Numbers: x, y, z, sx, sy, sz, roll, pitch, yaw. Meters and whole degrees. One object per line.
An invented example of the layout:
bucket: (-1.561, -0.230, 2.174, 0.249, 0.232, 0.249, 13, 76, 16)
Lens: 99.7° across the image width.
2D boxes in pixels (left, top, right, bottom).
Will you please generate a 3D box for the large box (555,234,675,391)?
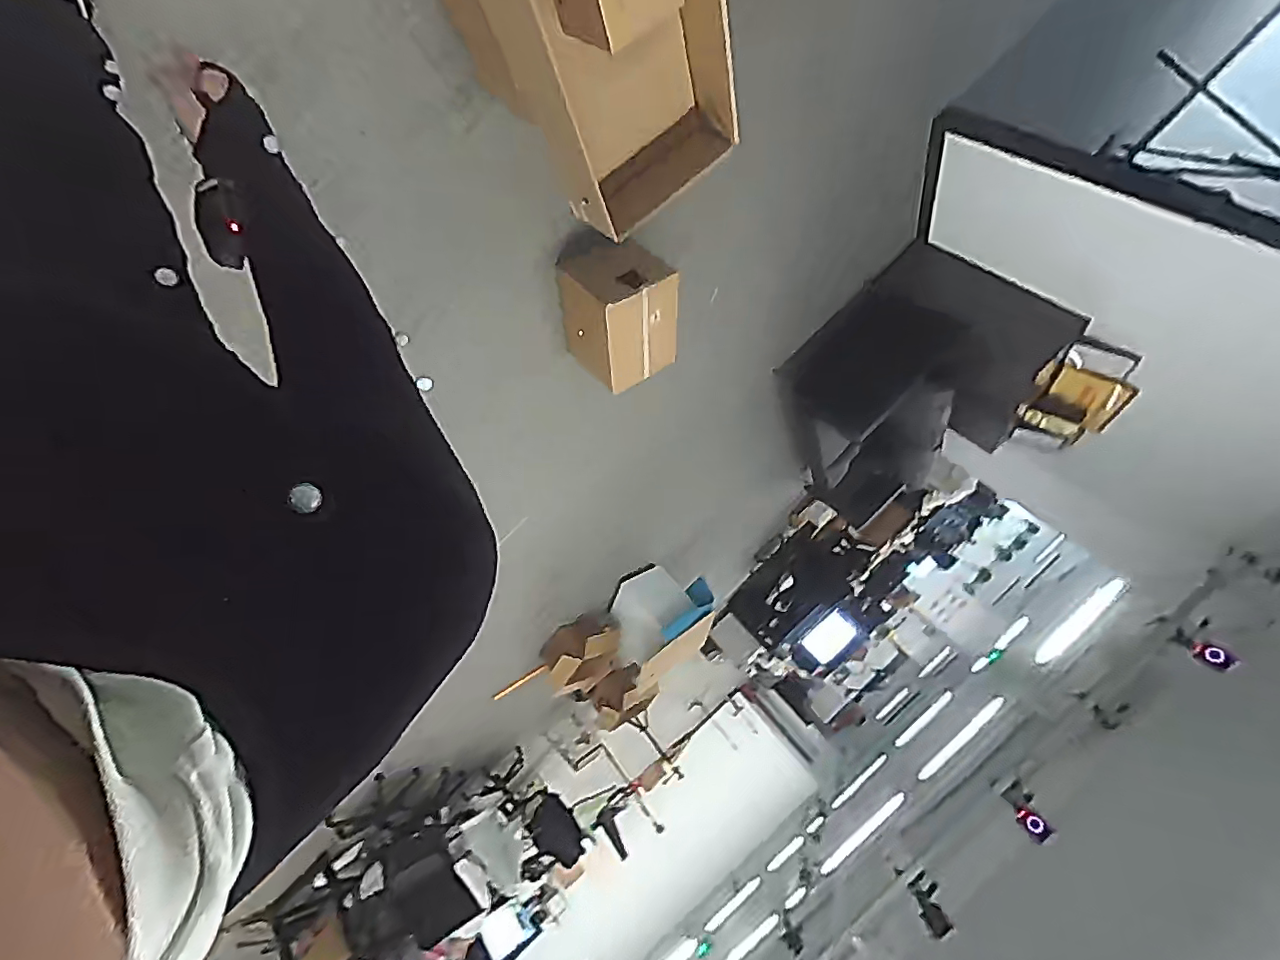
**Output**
large box: (-0.084, -0.619, 2.013, 0.320, 0.320, 0.408, -33, 149, -20)
